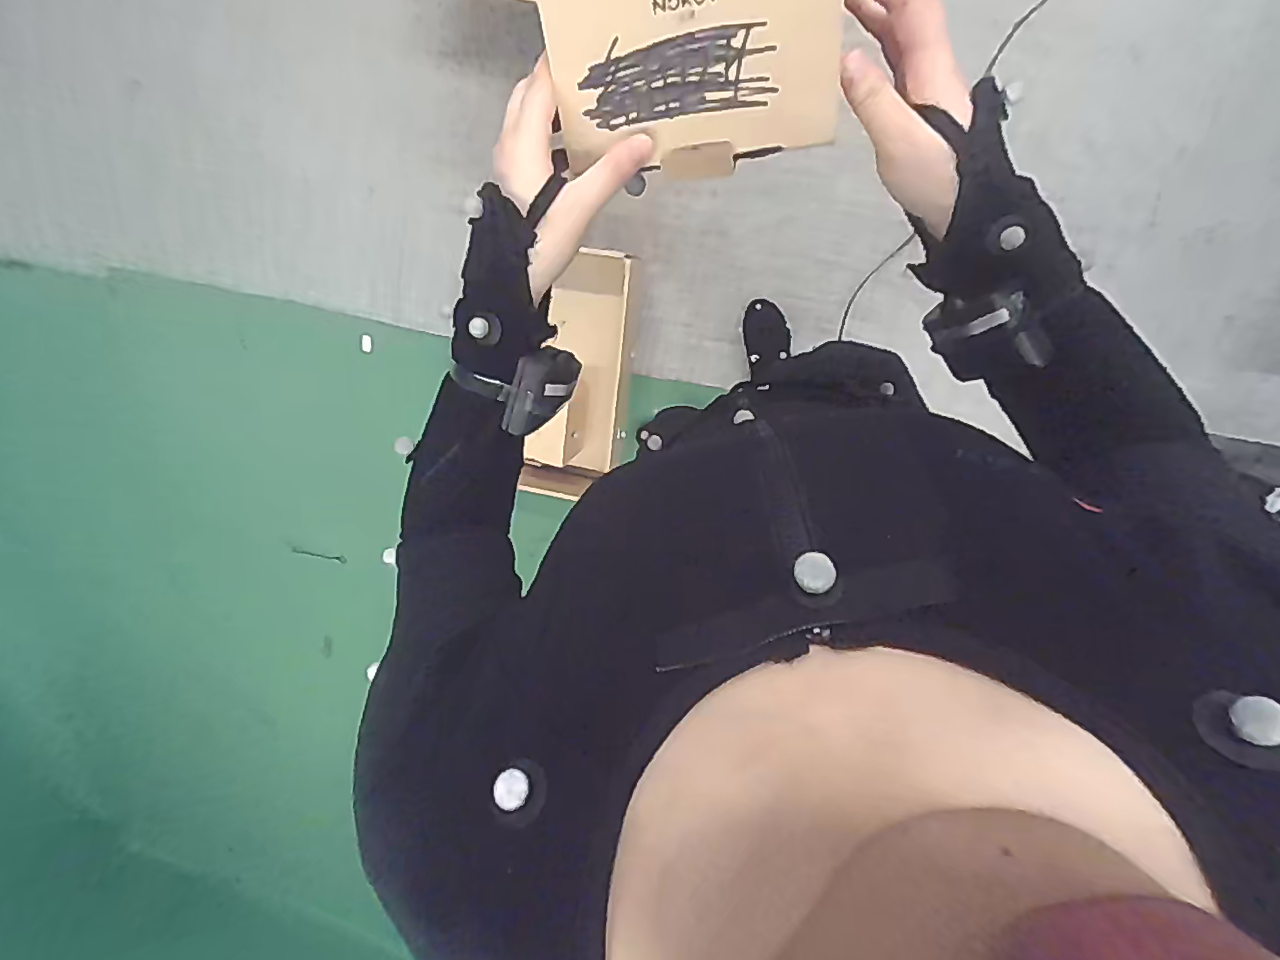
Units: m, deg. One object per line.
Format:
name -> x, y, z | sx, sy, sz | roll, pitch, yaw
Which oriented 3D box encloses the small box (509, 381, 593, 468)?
small box -> -0.231, -0.152, 1.426 | 0.168, 0.176, 0.179 | 12, 111, 10
